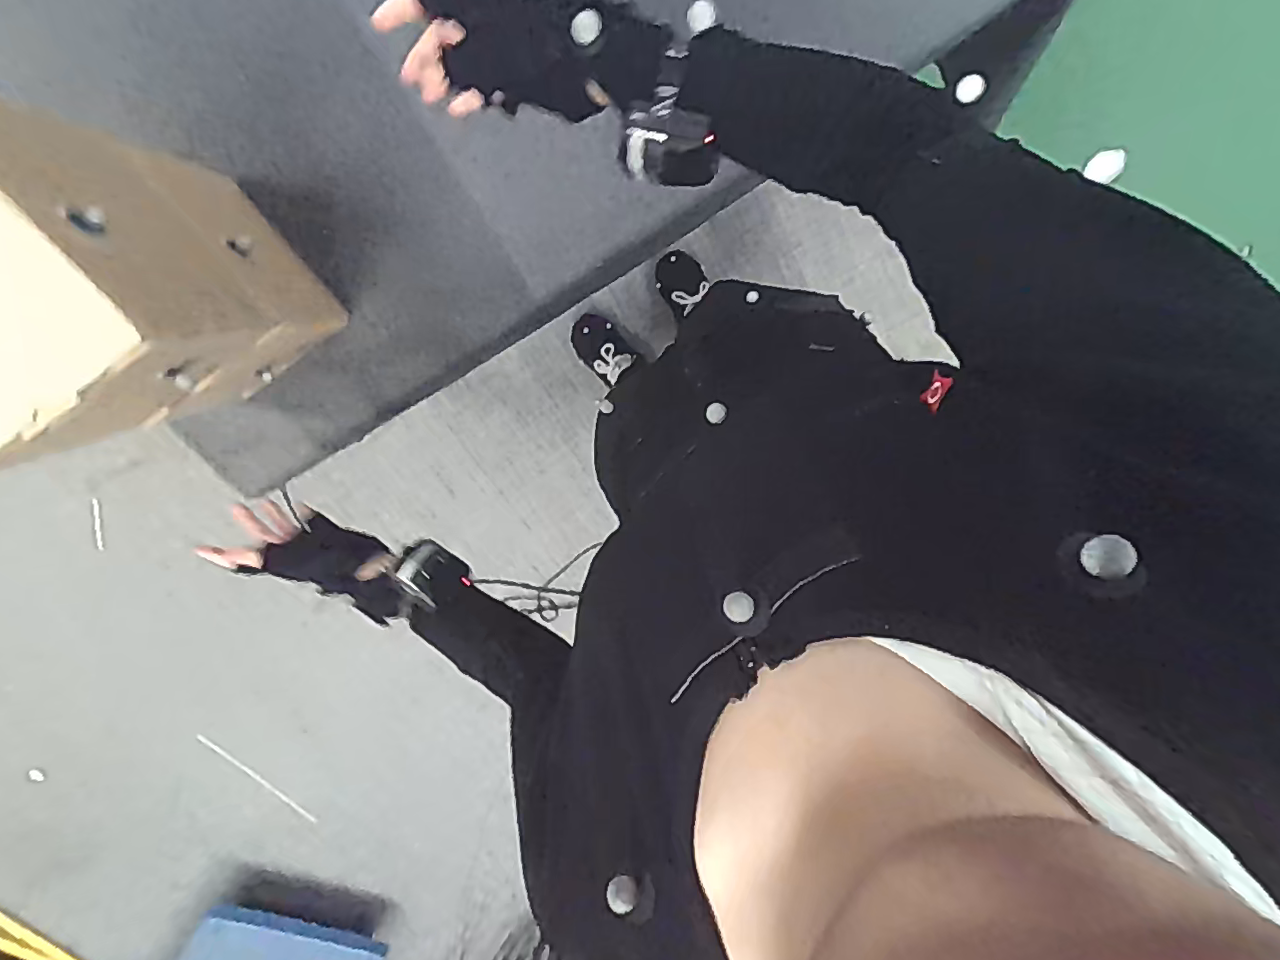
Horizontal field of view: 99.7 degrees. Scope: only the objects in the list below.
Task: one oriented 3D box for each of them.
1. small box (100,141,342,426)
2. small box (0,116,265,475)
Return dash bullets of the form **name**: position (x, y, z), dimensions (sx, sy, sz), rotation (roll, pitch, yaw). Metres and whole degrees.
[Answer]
- **small box**: position (-0.442, -0.182, 0.531), dimensions (0.168, 0.176, 0.179), rotation (-35, 111, 4)
- **small box**: position (-0.421, -0.129, 0.379), dimensions (0.168, 0.176, 0.179), rotation (-33, 110, 3)
